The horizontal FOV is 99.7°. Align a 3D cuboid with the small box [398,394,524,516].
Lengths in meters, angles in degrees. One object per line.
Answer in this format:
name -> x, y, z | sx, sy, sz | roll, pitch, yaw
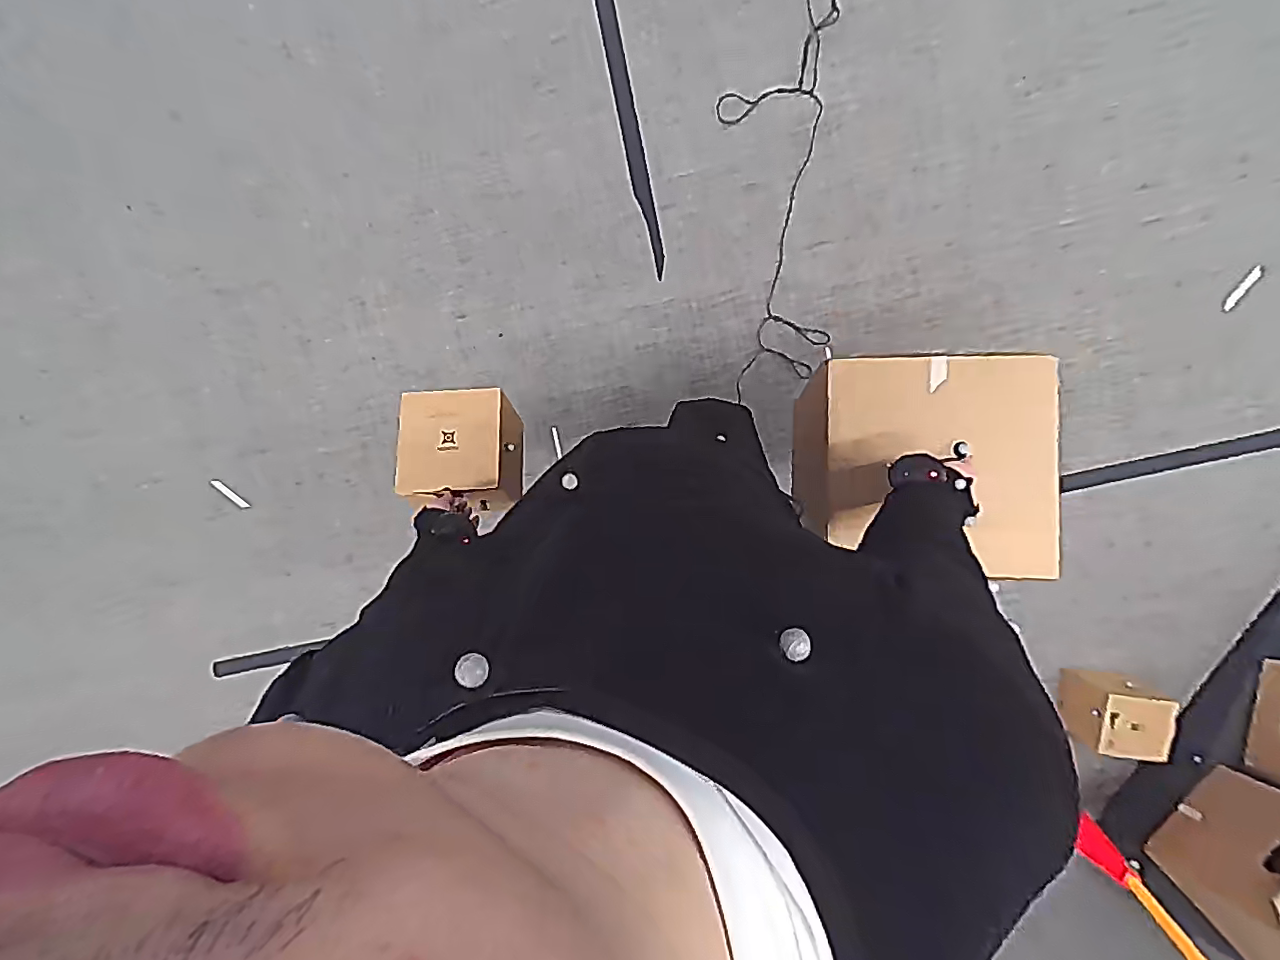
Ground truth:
small box -> -0.304, -0.035, 0.953 | 0.168, 0.176, 0.179 | -3, 74, 0
